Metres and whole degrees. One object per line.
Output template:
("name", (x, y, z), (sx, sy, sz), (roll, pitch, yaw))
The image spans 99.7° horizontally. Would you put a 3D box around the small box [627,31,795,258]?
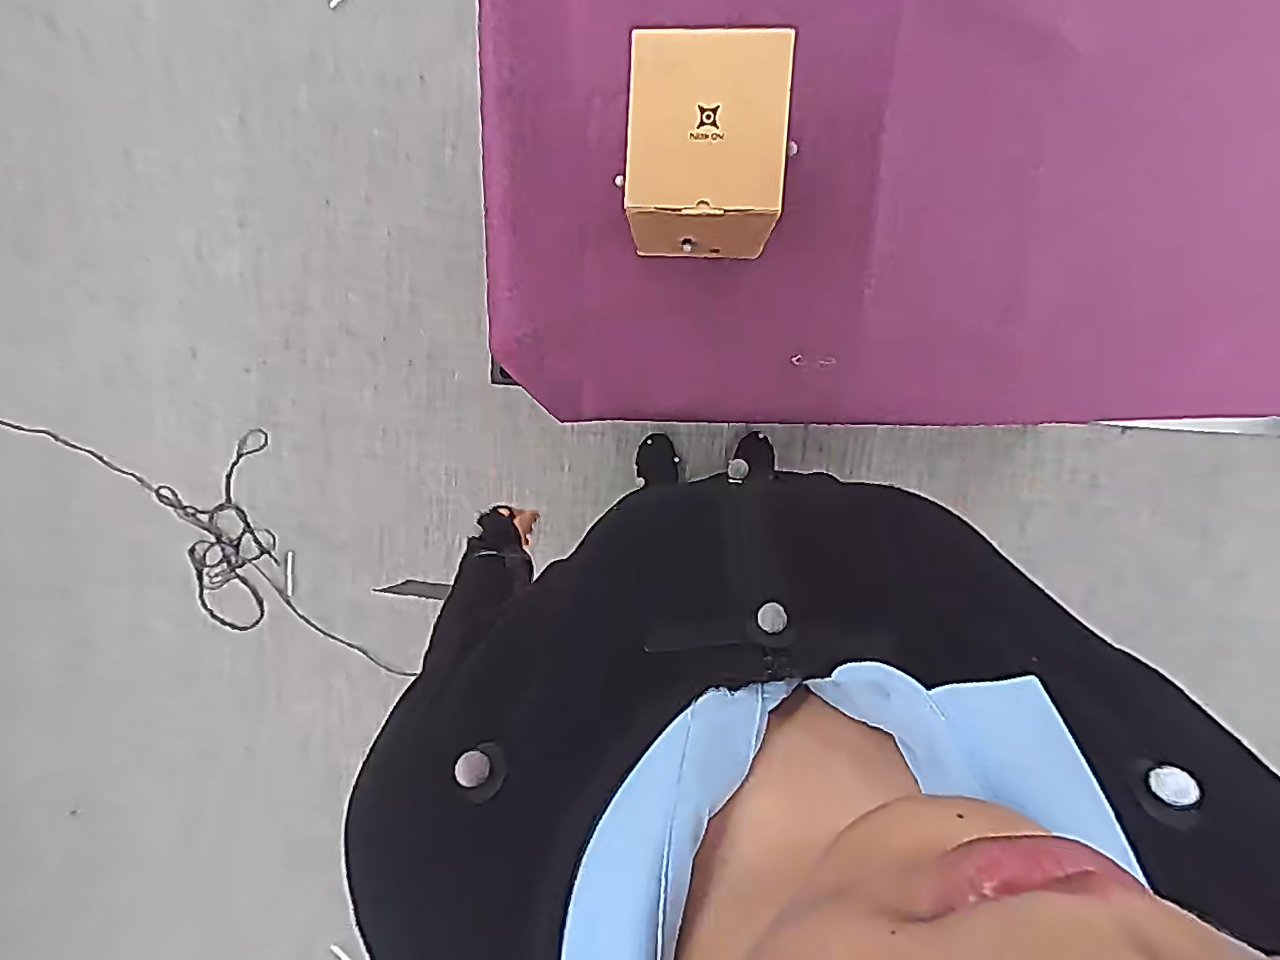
("small box", (0.075, -0.377, 0.635), (0.168, 0.176, 0.179), (3, 98, 4))
